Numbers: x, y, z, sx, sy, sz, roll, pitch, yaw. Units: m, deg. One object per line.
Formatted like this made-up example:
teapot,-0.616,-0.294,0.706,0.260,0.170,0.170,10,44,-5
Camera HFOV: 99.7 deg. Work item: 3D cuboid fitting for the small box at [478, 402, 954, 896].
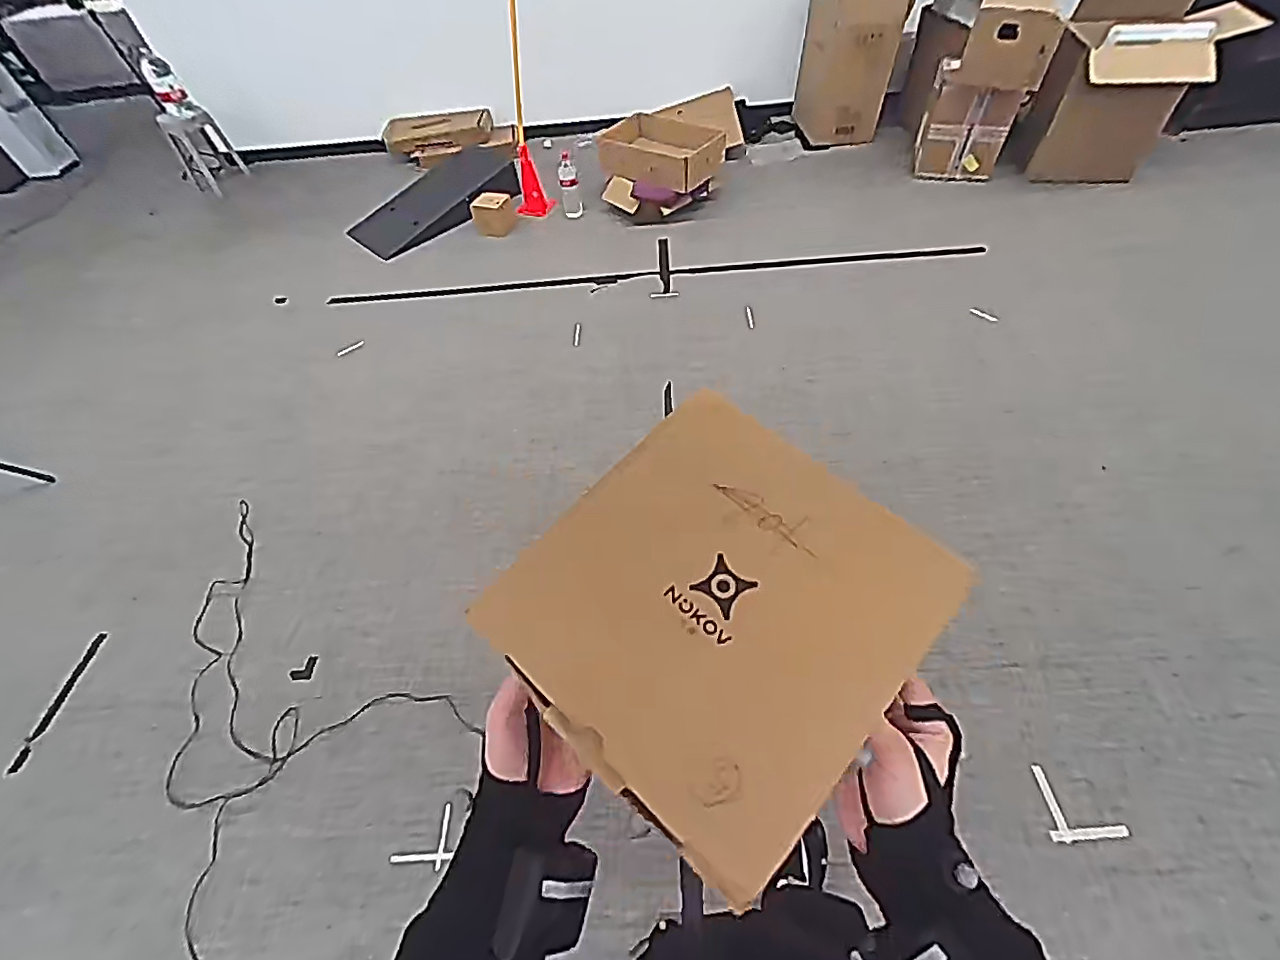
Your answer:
small box,0.040,0.095,0.331,0.168,0.176,0.179,38,70,20
